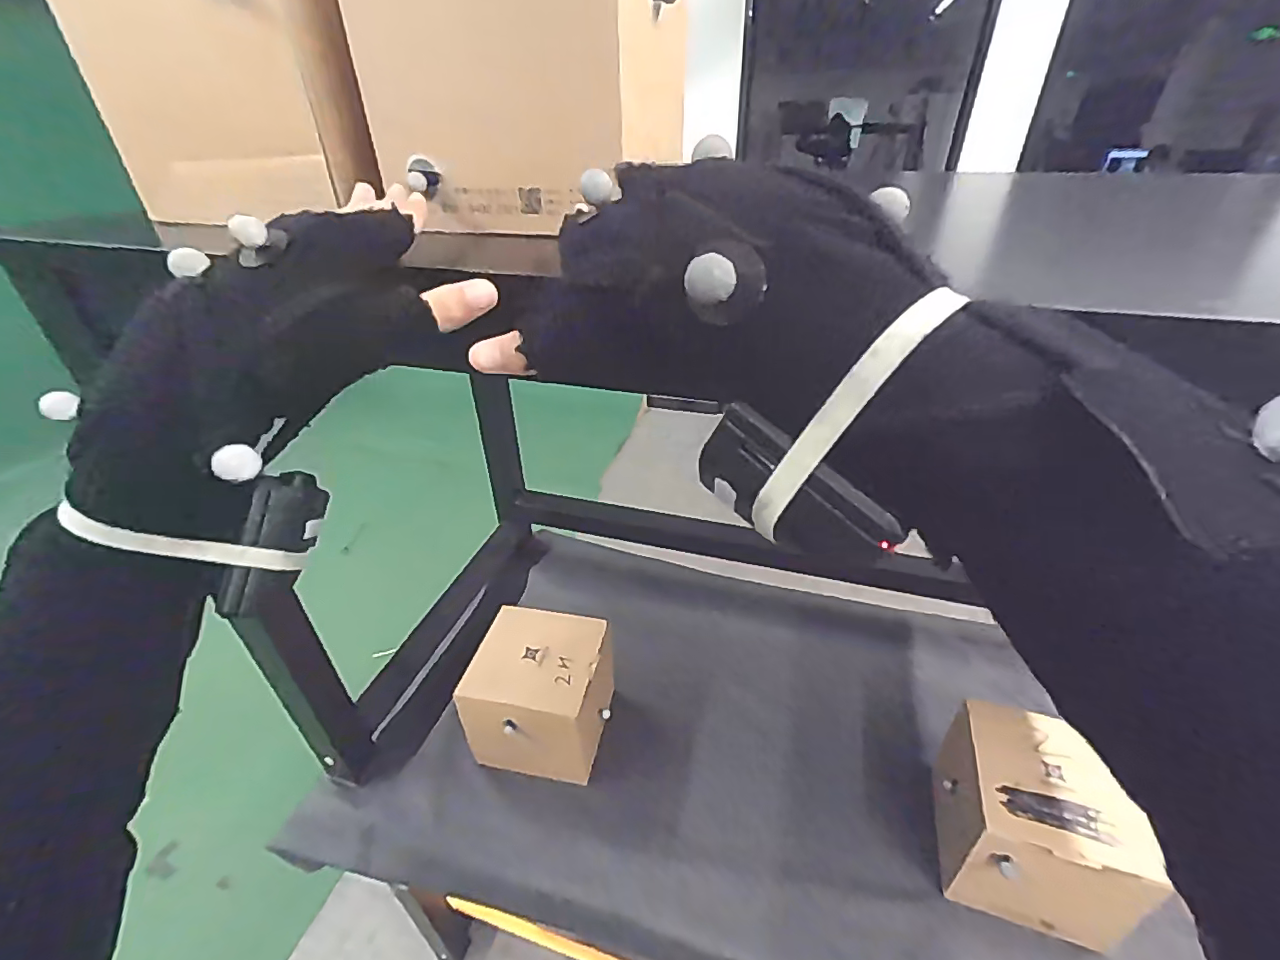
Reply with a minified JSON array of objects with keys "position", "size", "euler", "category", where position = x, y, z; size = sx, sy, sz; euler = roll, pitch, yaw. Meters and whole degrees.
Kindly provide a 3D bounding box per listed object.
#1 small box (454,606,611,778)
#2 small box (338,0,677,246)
[{"position":[-0.148,0.318,0.815],"size":[0.179,0.176,0.168],"euler":[7,35,10],"category":"small box"},{"position":[-0.069,-0.266,0.374],"size":[0.168,0.176,0.179],"euler":[8,34,13],"category":"small box"}]
